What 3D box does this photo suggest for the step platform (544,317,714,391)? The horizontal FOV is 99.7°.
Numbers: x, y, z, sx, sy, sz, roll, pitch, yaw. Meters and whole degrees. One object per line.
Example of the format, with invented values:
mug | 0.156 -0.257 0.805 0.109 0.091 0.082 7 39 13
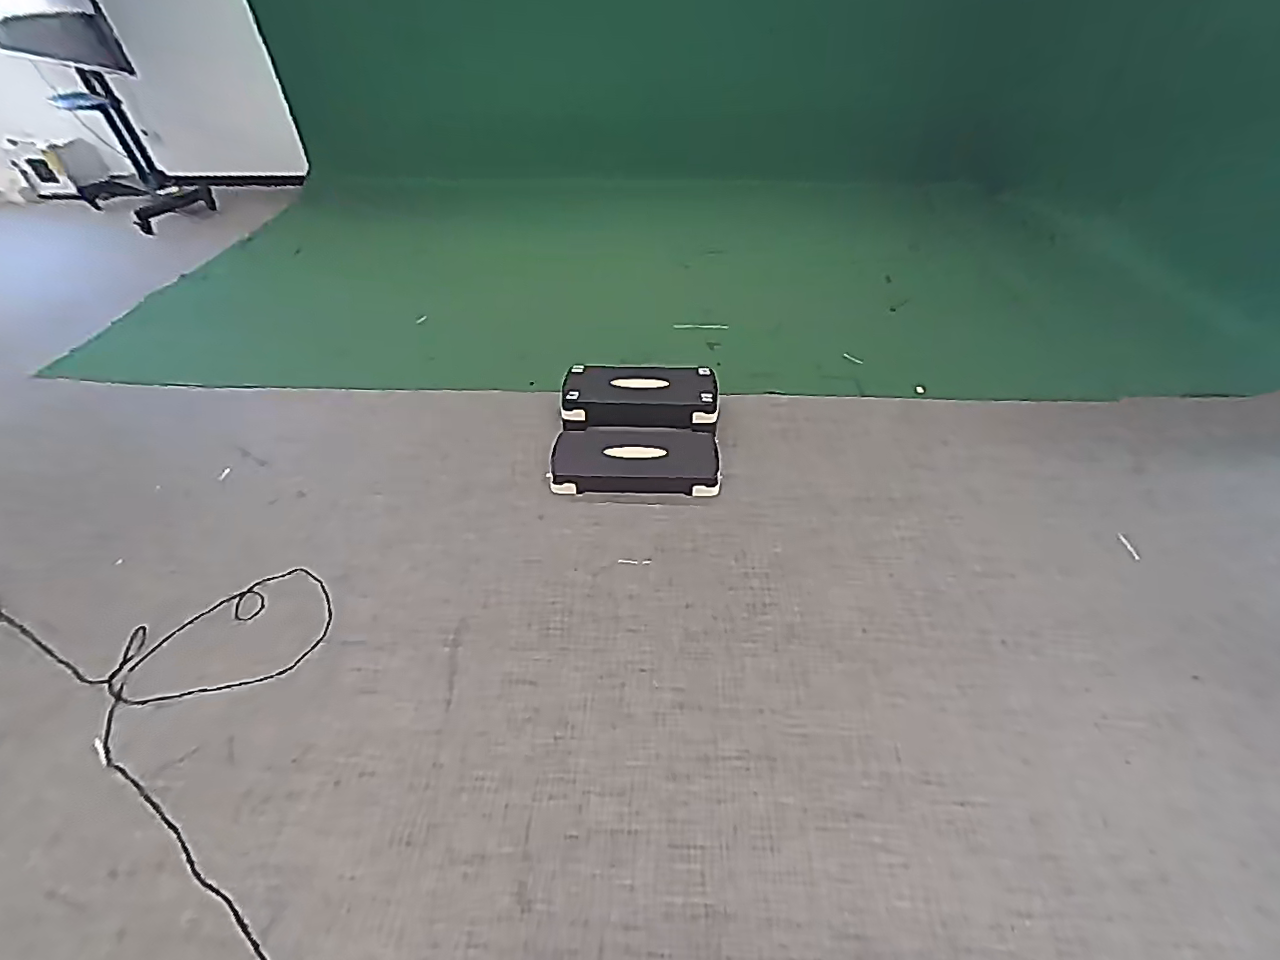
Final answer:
step platform | -0.042 -0.524 2.254 0.684 0.204 0.286 1 45 2
